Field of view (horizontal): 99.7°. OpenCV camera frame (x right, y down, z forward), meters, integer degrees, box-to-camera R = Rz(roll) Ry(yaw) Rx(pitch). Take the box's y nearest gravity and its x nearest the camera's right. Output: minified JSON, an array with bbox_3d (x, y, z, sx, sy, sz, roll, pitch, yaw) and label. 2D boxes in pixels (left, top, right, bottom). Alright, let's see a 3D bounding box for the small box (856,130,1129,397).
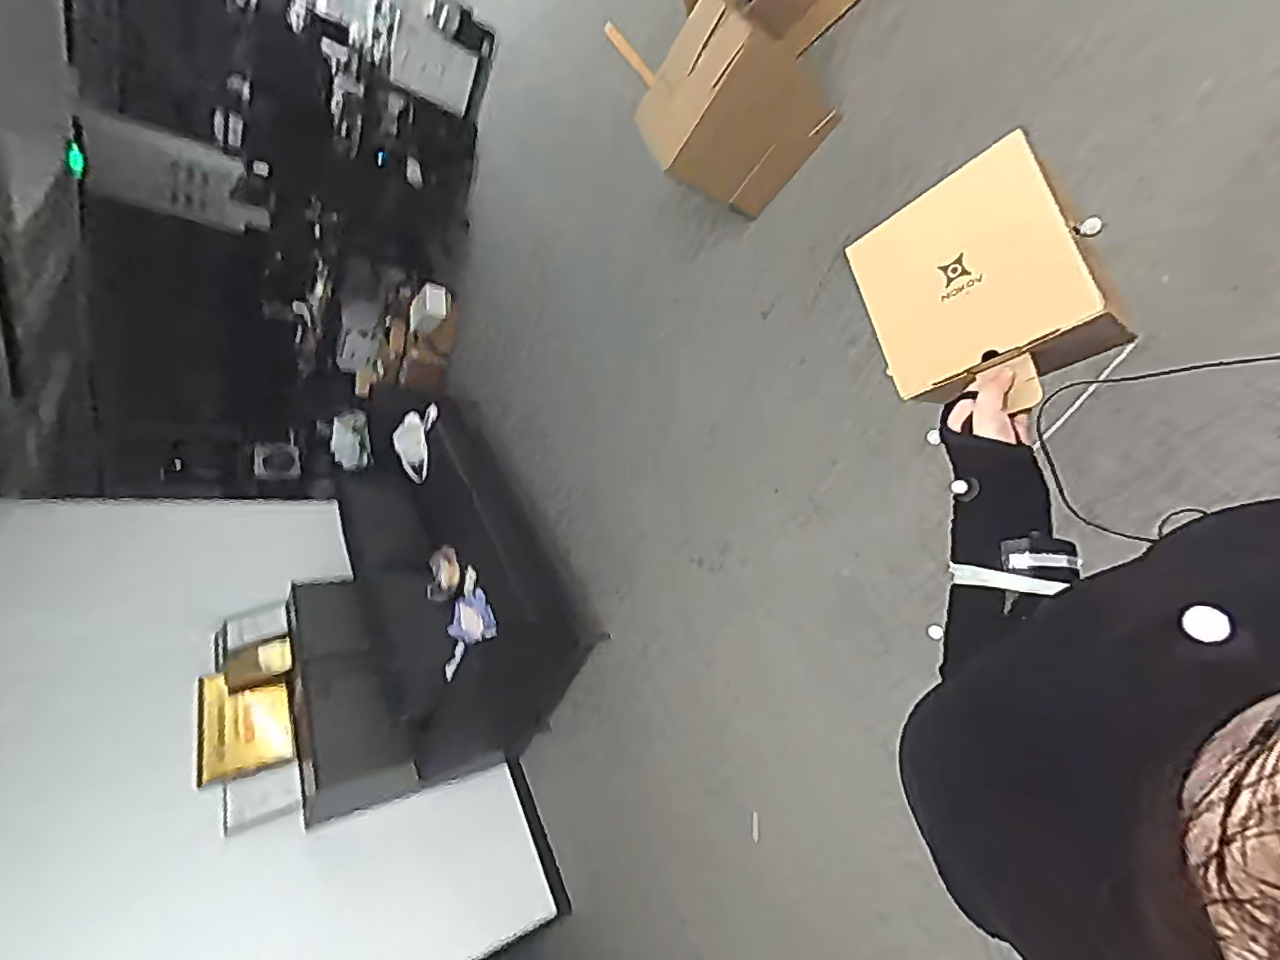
[{"bbox_3d":[0.357,-0.196,0.551,0.168,0.176,0.179,-25,75,46],"label":"small box"}]
